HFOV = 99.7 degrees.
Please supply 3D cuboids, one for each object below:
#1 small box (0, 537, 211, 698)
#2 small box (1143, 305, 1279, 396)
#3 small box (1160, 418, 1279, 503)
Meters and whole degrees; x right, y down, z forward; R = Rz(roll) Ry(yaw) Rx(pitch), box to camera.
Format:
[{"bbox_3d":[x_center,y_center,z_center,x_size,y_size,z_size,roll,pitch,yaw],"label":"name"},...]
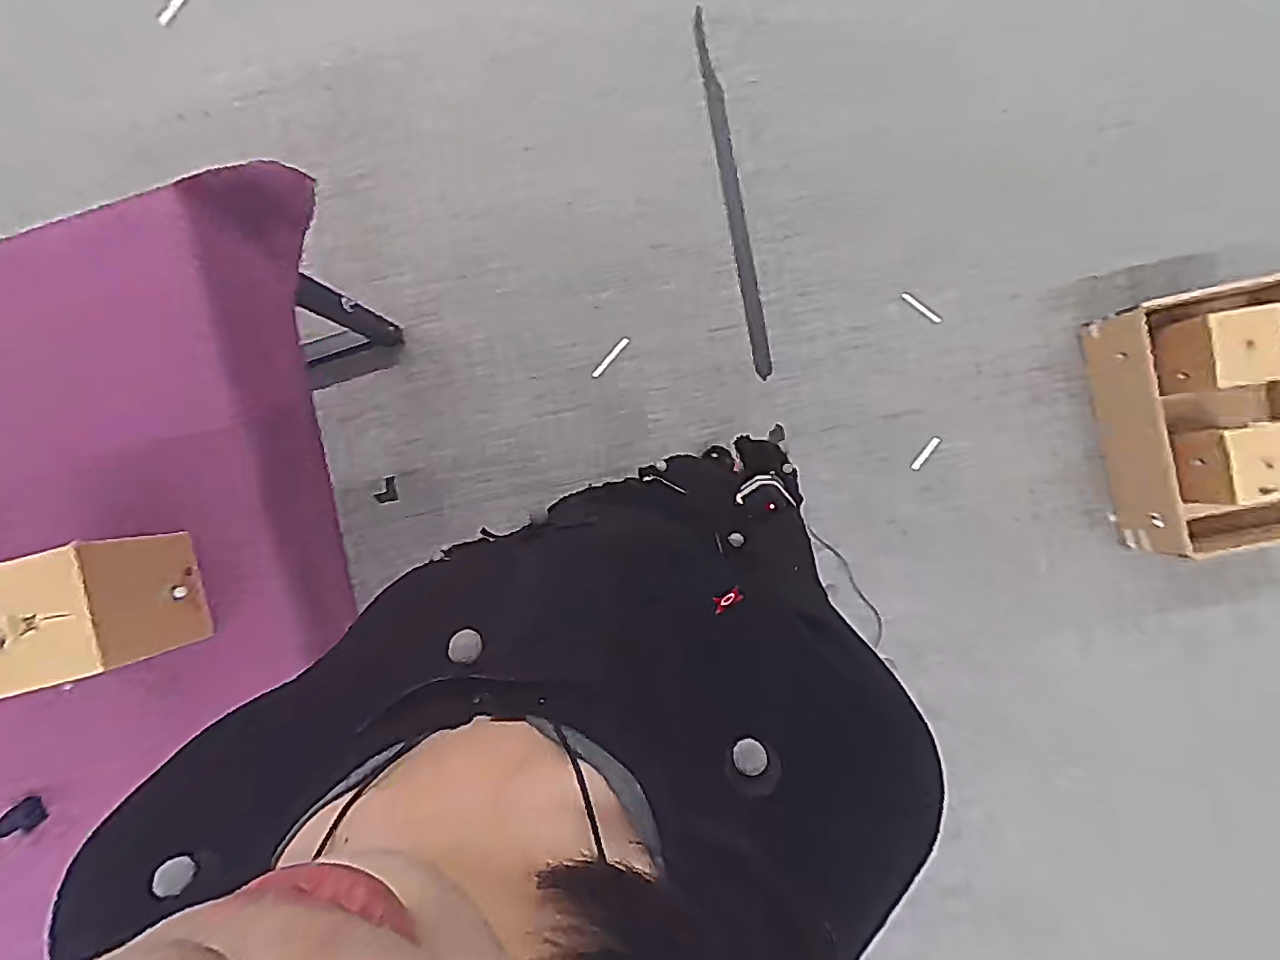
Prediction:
[{"bbox_3d":[-0.755,0.182,0.749,0.179,0.176,0.168,-14,89,3],"label":"small box"},{"bbox_3d":[1.387,-0.305,1.316,0.168,0.176,0.179,-9,90,3],"label":"small box"},{"bbox_3d":[1.428,-0.041,1.314,0.168,0.176,0.179,-11,87,4],"label":"small box"}]
